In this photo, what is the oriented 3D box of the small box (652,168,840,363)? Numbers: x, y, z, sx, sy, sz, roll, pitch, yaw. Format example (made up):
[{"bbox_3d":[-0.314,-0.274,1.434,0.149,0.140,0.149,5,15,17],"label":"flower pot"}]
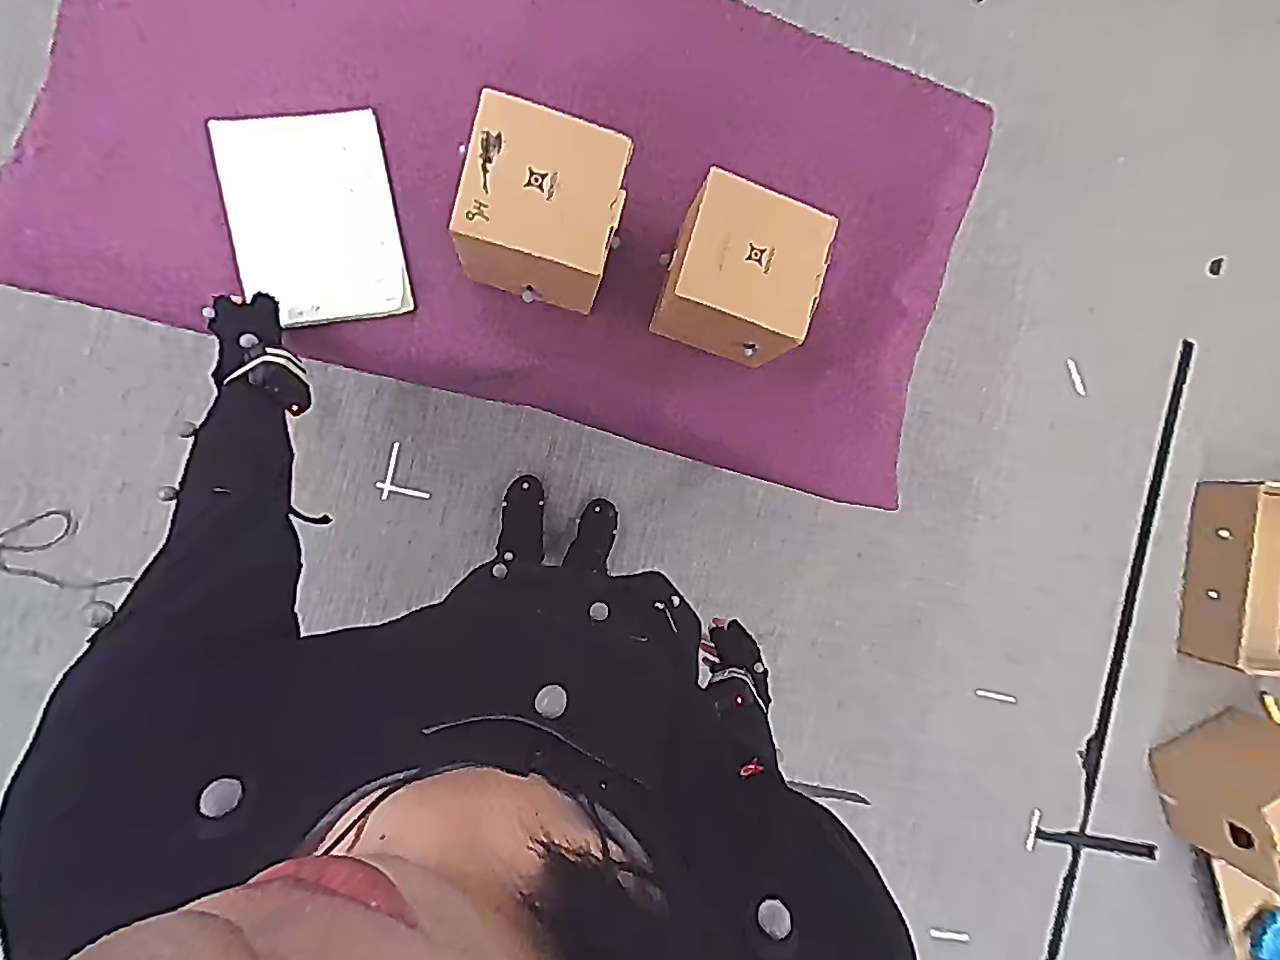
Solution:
[{"bbox_3d":[0.132,-0.271,0.730,0.179,0.176,0.168,17,86,-9],"label":"small box"}]

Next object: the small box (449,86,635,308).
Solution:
[{"bbox_3d":[-0.122,-0.334,0.682,0.179,0.176,0.168,14,88,-11],"label":"small box"}]
